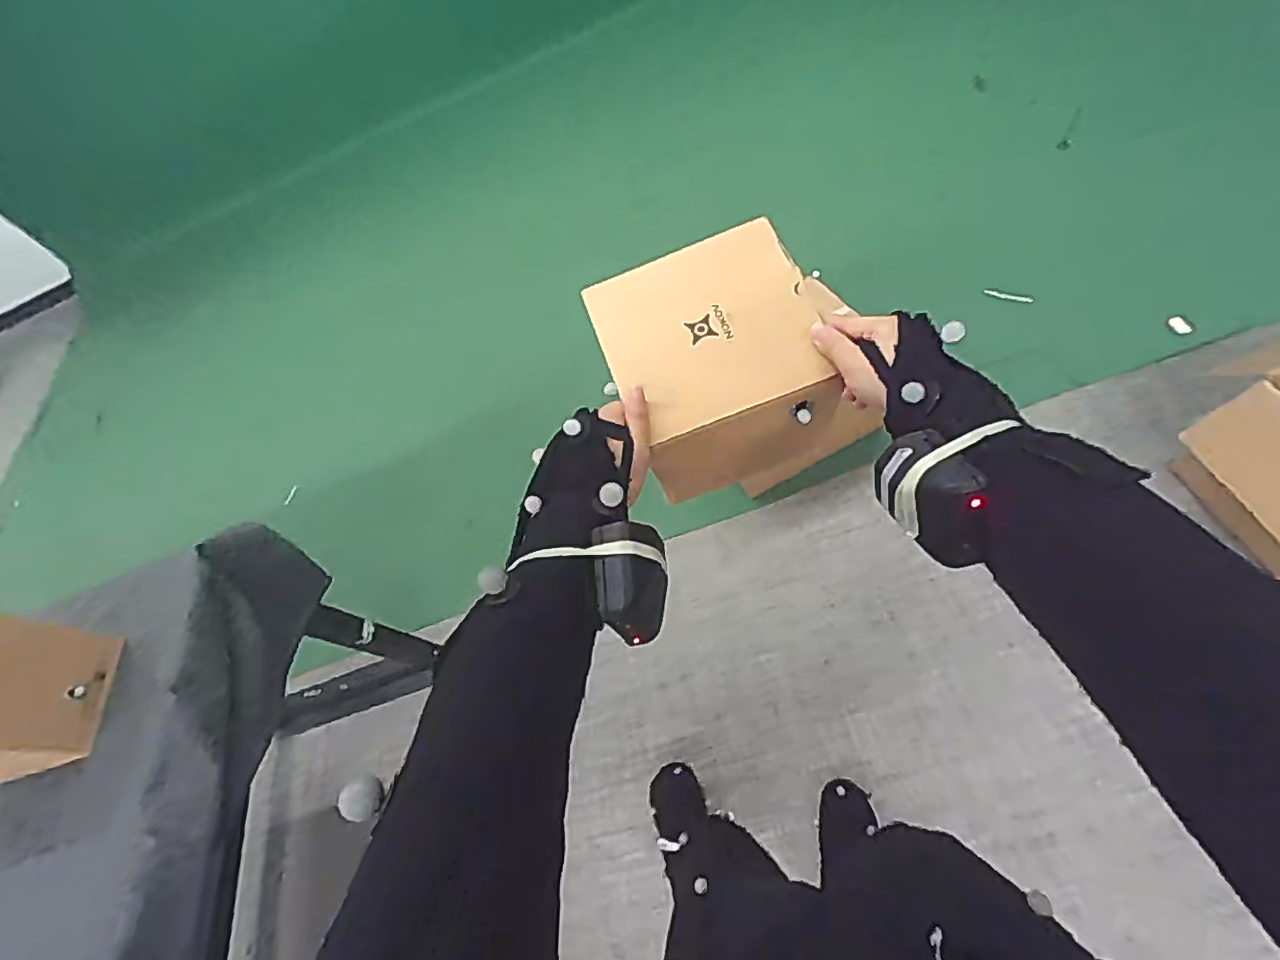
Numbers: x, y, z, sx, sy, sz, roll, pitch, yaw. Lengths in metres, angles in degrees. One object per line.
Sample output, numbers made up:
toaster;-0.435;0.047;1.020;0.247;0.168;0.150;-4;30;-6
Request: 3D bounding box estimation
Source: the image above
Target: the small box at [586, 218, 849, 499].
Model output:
small box;0.069;-0.099;0.513;0.179;0.176;0.168;-20;69;3
